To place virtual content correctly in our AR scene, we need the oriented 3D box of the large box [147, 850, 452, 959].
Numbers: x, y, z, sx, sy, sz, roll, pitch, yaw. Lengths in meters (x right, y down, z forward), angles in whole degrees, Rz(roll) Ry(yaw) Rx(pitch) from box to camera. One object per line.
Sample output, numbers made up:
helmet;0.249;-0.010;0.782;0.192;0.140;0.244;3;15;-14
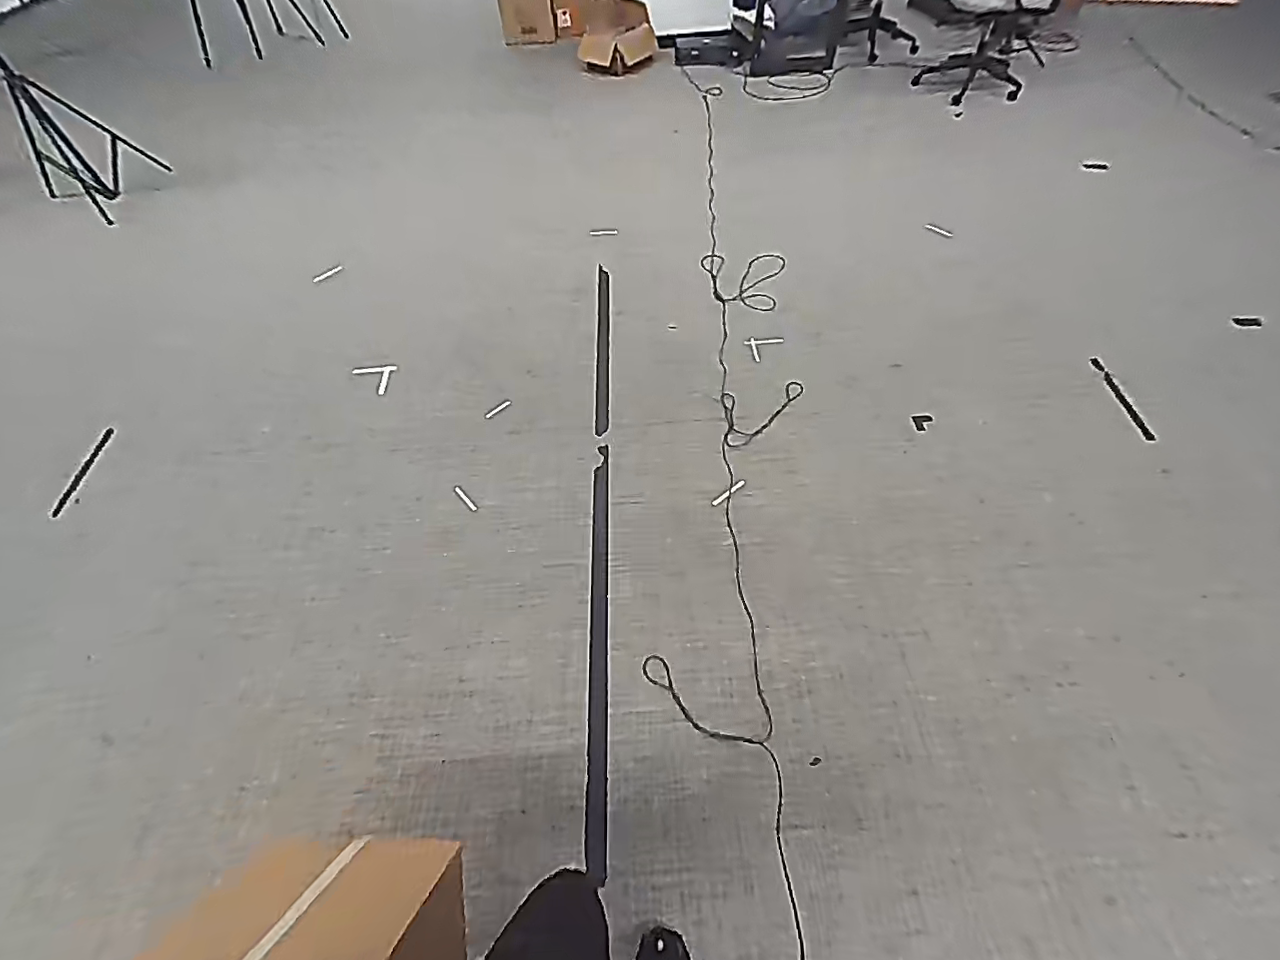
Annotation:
large box;-0.447;0.729;0.643;0.320;0.408;0.320;-4;89;4
